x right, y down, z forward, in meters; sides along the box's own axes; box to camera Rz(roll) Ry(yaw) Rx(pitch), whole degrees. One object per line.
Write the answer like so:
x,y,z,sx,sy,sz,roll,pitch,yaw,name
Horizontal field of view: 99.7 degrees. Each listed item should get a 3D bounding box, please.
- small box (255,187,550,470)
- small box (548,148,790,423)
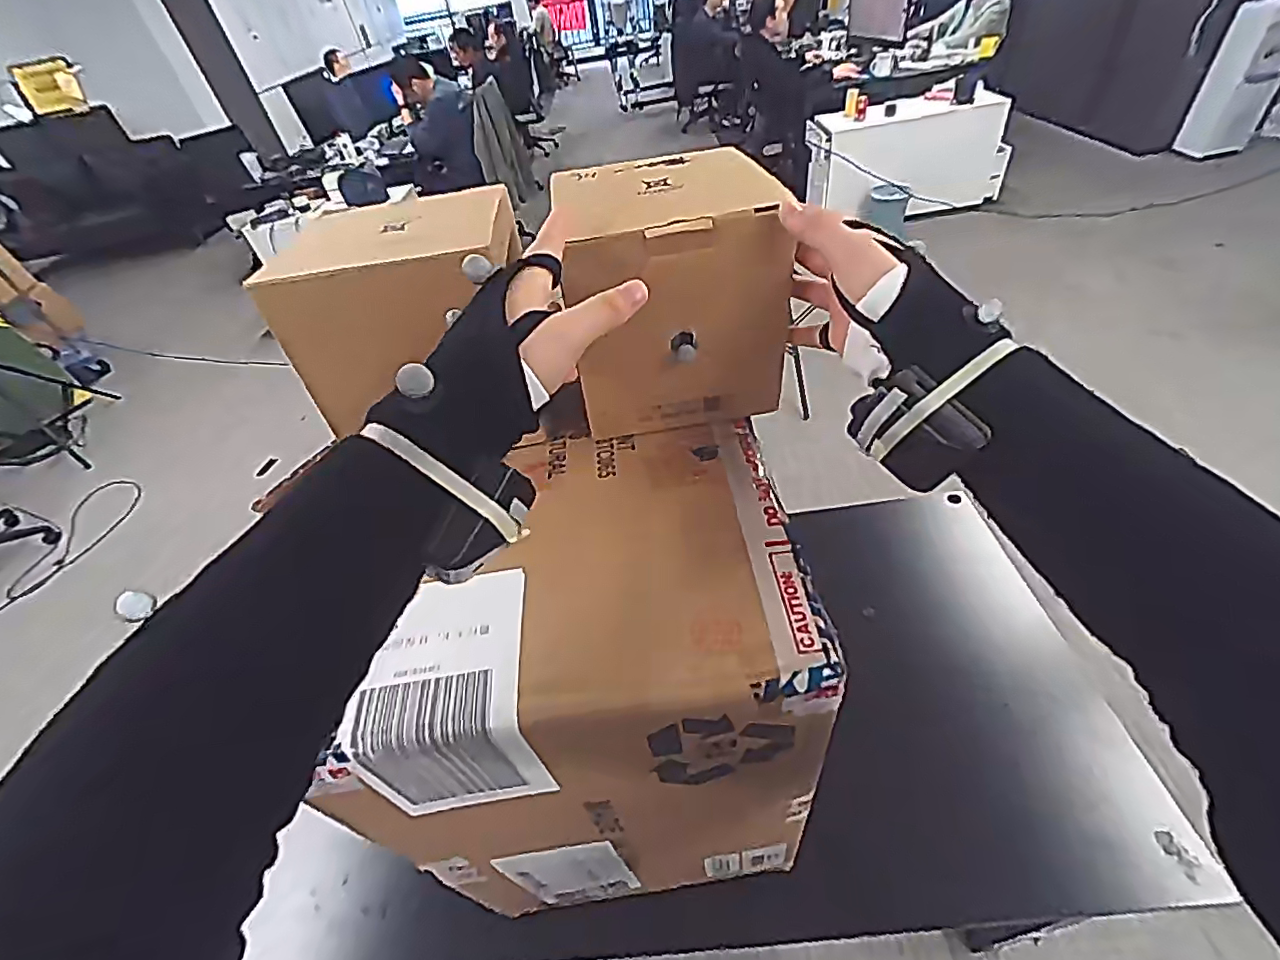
-0.179,-0.134,0.475,0.168,0.176,0.179,-11,42,-1,small box
0.018,-0.162,0.469,0.168,0.176,0.179,-8,44,-2,small box
